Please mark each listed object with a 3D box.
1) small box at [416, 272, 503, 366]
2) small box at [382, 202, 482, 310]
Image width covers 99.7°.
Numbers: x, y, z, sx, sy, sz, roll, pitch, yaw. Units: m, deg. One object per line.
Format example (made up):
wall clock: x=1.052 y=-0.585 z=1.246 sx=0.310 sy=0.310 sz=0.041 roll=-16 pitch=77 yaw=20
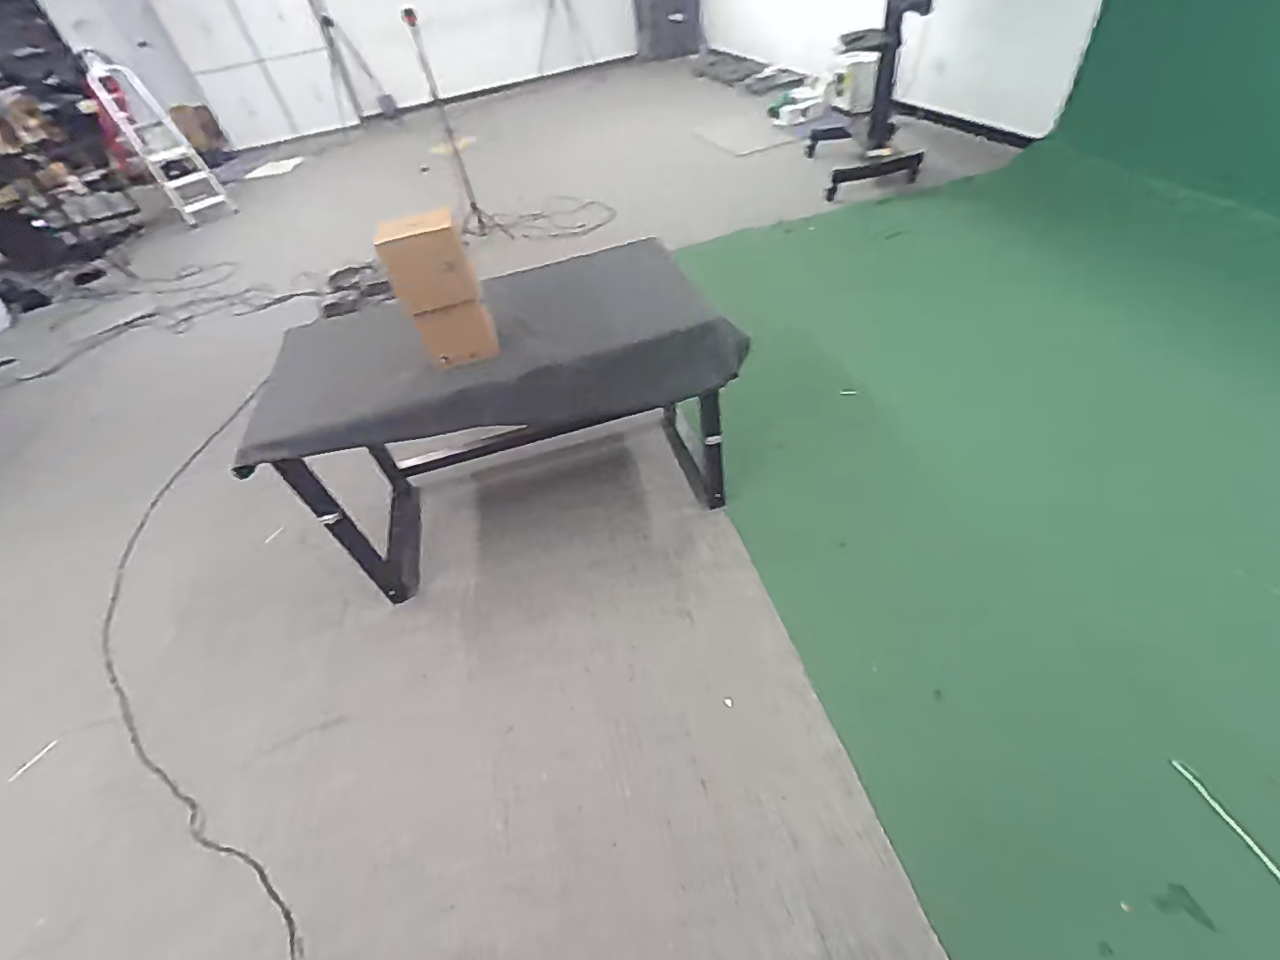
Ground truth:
small box: x=-0.461 y=-0.411 z=1.406 sx=0.168 sy=0.176 sz=0.179 roll=-15 pitch=43 yaw=-4
small box: x=-0.480 y=-0.523 z=1.268 sx=0.179 sy=0.176 sz=0.168 roll=-18 pitch=44 yaw=-8
